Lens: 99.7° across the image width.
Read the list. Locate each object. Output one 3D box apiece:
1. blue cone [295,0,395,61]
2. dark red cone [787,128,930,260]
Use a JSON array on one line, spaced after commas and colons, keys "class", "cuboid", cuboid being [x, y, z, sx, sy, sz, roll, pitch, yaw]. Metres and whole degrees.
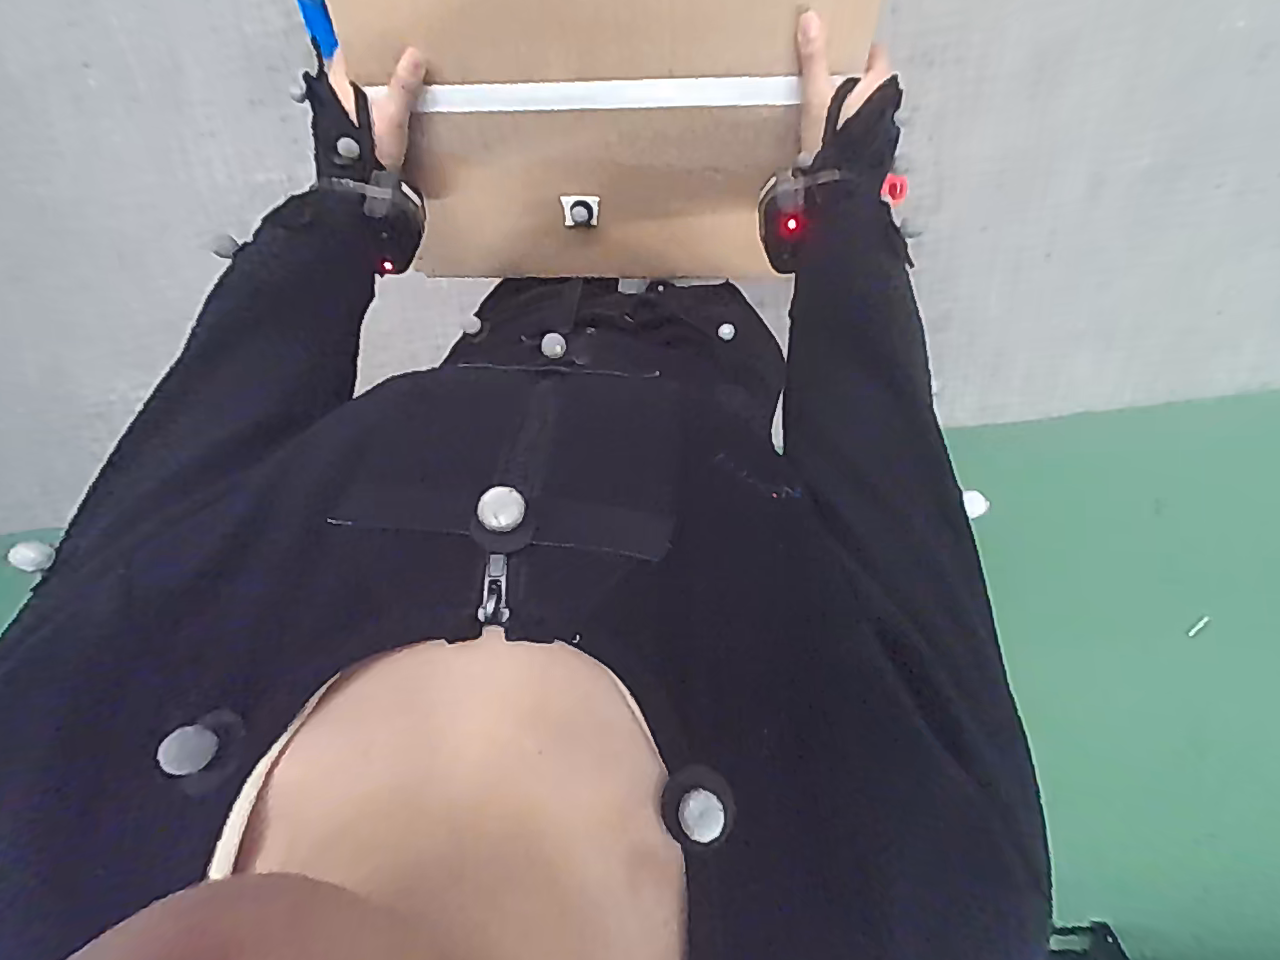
[{"class": "blue cone", "cuboid": [-0.581, -0.852, 0.869, 0.192, 0.380, 0.193, -5, 114, 7]}, {"class": "dark red cone", "cuboid": [0.388, -0.481, 0.920, 0.202, 0.394, 0.201, -13, 116, 10]}]
